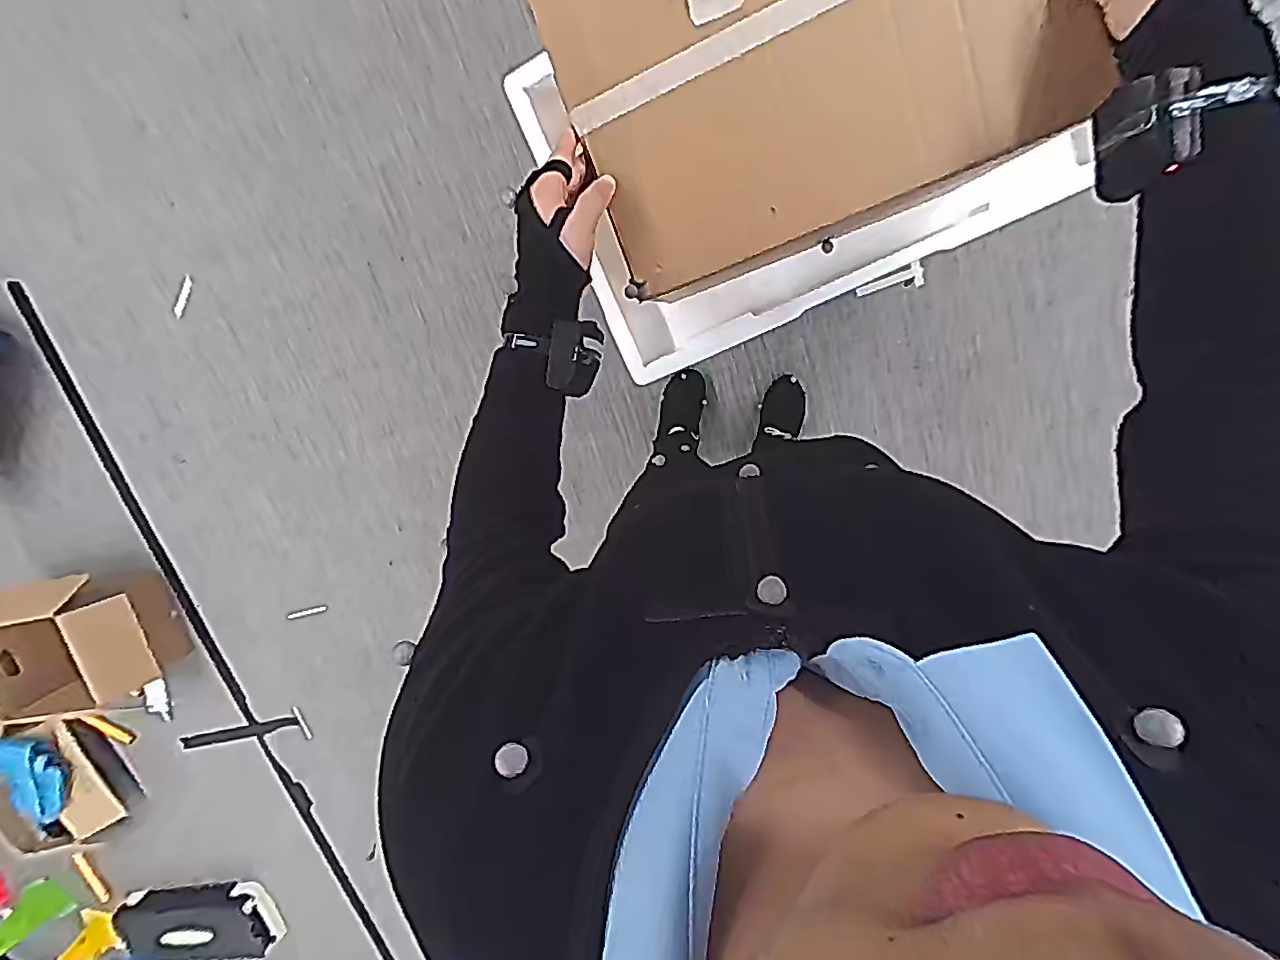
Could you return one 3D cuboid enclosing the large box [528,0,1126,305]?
[{"bbox_3d":[0.153,-0.407,0.560,0.408,0.320,0.320,-19,102,14],"label":"large box"}]
